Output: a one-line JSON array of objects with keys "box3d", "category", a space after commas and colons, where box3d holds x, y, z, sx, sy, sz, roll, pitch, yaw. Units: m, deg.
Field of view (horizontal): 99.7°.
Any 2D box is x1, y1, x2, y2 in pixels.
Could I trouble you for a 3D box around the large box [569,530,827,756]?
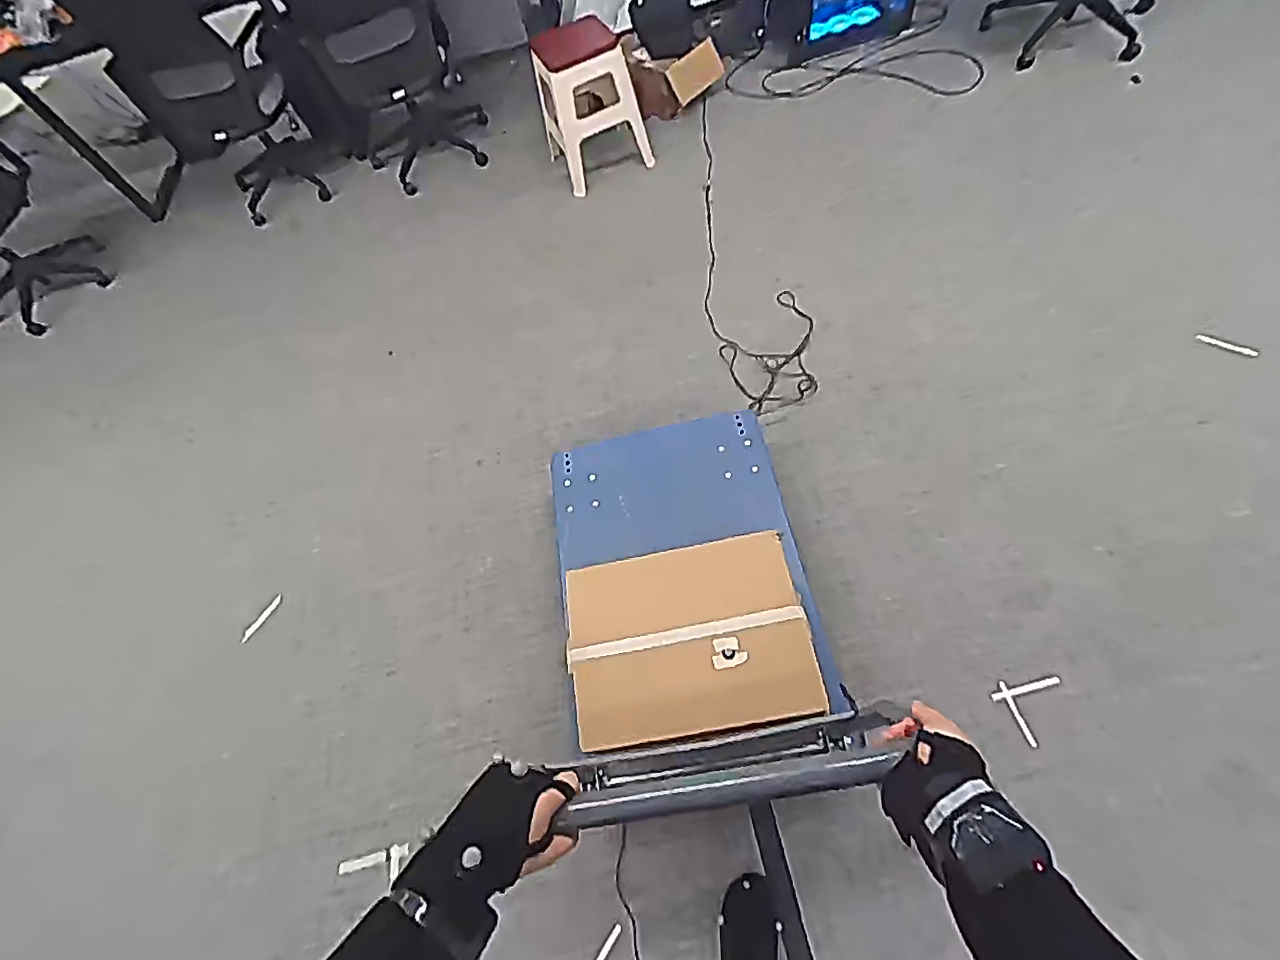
[{"box3d": [0.104, 0.337, 1.069, 0.408, 0.320, 0.320, -13, 61, 4], "category": "large box"}]
